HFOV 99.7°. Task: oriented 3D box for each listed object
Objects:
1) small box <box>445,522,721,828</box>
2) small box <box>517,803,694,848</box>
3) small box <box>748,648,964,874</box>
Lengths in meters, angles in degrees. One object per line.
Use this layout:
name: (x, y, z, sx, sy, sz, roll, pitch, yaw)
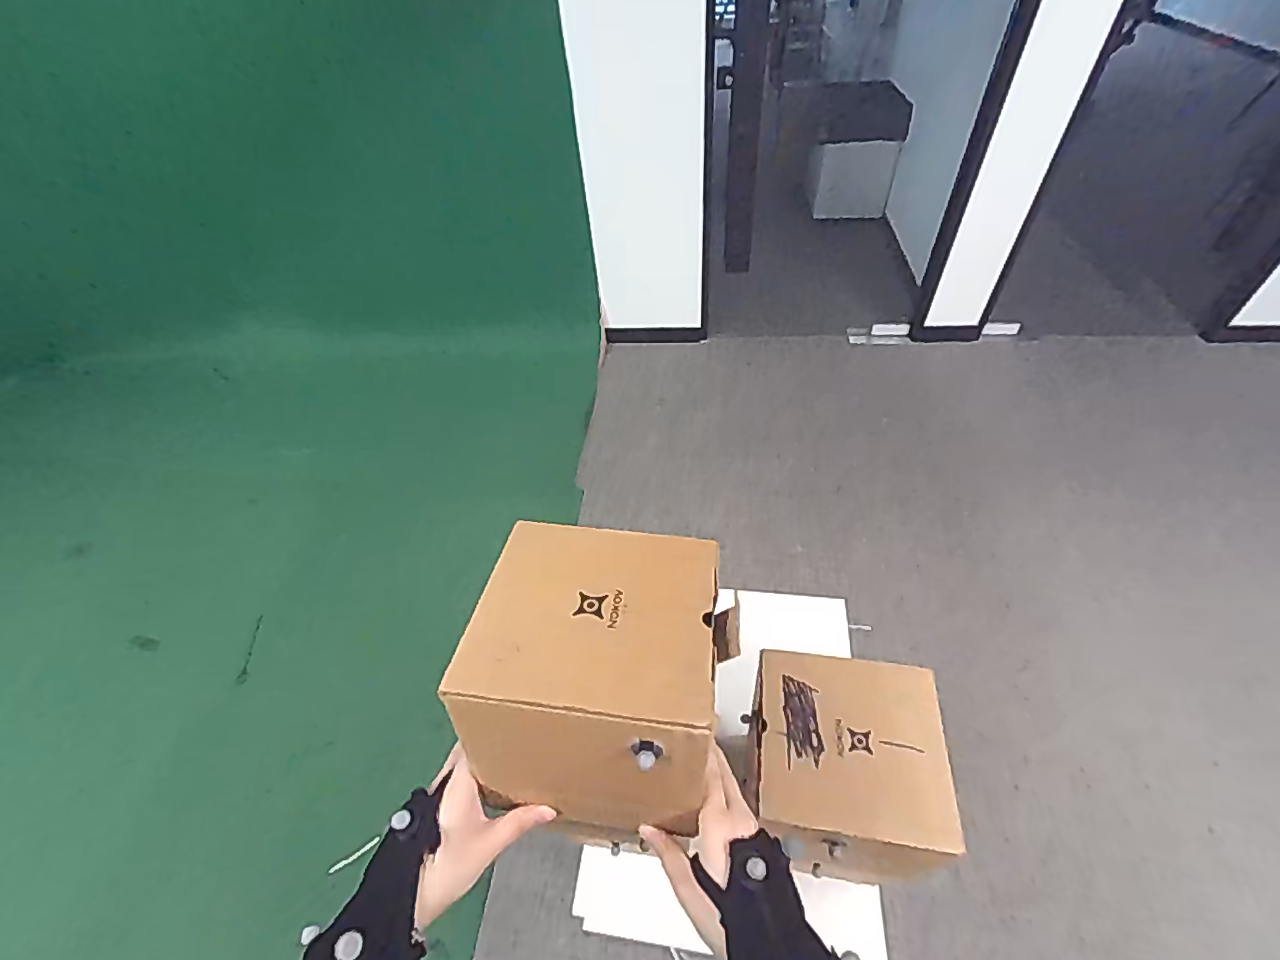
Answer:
small box: (-0.030, 0.157, 0.445, 0.179, 0.176, 0.168, 6, 37, 5)
small box: (-0.024, 0.297, 0.610, 0.179, 0.176, 0.168, 3, 47, 7)
small box: (0.211, 0.303, 0.581, 0.179, 0.176, 0.168, 4, 49, 10)
